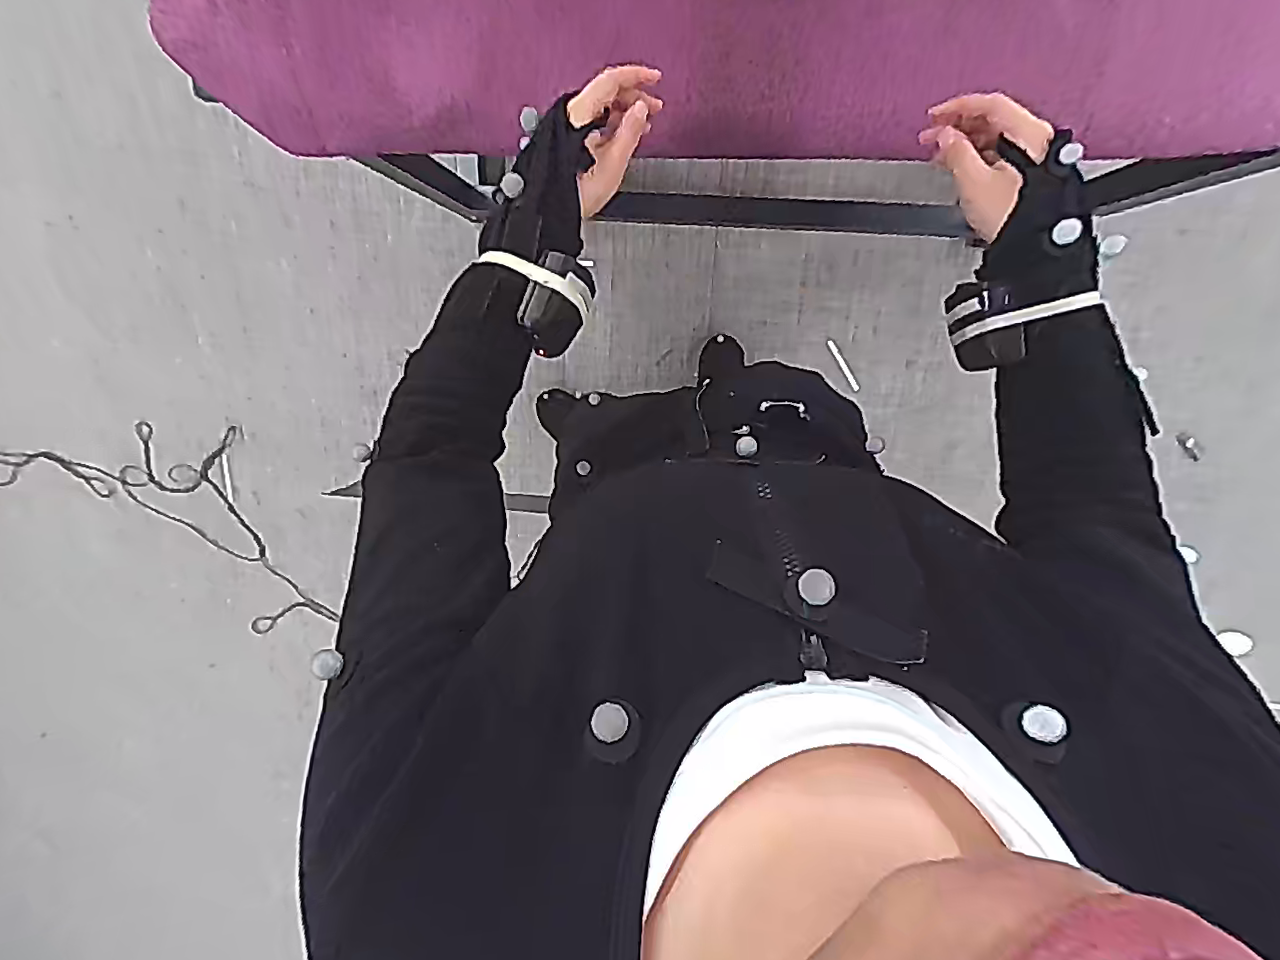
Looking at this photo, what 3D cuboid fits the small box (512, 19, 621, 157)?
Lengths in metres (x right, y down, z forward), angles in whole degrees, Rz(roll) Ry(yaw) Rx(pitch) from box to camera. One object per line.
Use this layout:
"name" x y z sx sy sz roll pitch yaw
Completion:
"small box" -0.128 -0.714 1.003 0.179 0.176 0.168 3 107 3
